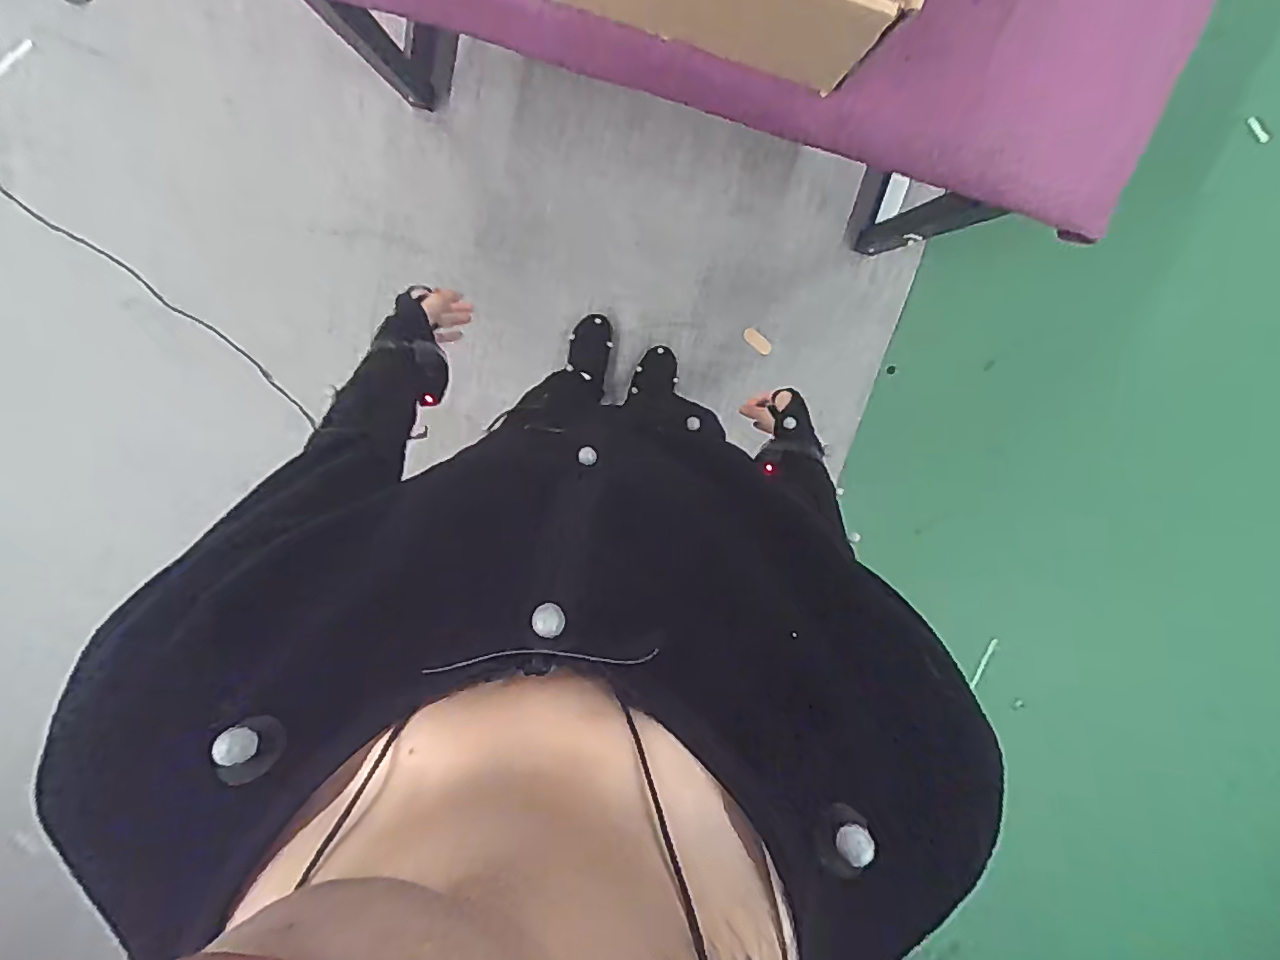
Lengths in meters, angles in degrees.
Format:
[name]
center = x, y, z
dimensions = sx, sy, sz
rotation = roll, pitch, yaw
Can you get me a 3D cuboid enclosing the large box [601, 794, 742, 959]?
[large box]
center = 0.085, 1.241, 1.708
dimensions = 0.408, 0.320, 0.320
rotation = 0, 106, -2
